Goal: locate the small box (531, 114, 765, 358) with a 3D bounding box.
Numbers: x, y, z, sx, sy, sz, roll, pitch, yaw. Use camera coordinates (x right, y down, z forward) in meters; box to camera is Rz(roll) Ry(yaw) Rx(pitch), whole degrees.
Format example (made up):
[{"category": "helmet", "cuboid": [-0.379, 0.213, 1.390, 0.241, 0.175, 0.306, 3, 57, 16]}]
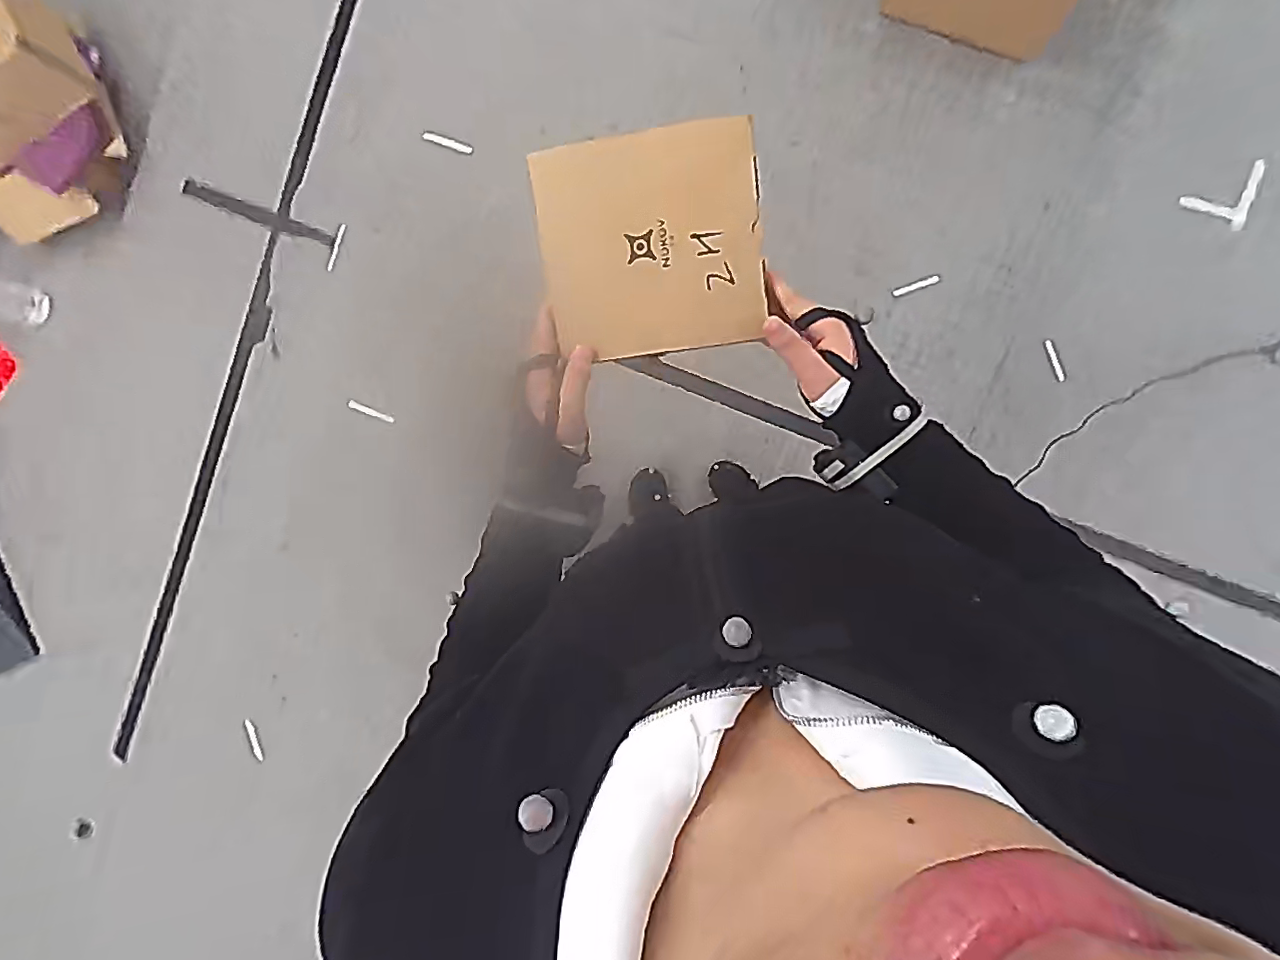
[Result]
[{"category": "small box", "cuboid": [0.015, -0.207, 0.509, 0.179, 0.176, 0.168, -6, 104, 6]}]
